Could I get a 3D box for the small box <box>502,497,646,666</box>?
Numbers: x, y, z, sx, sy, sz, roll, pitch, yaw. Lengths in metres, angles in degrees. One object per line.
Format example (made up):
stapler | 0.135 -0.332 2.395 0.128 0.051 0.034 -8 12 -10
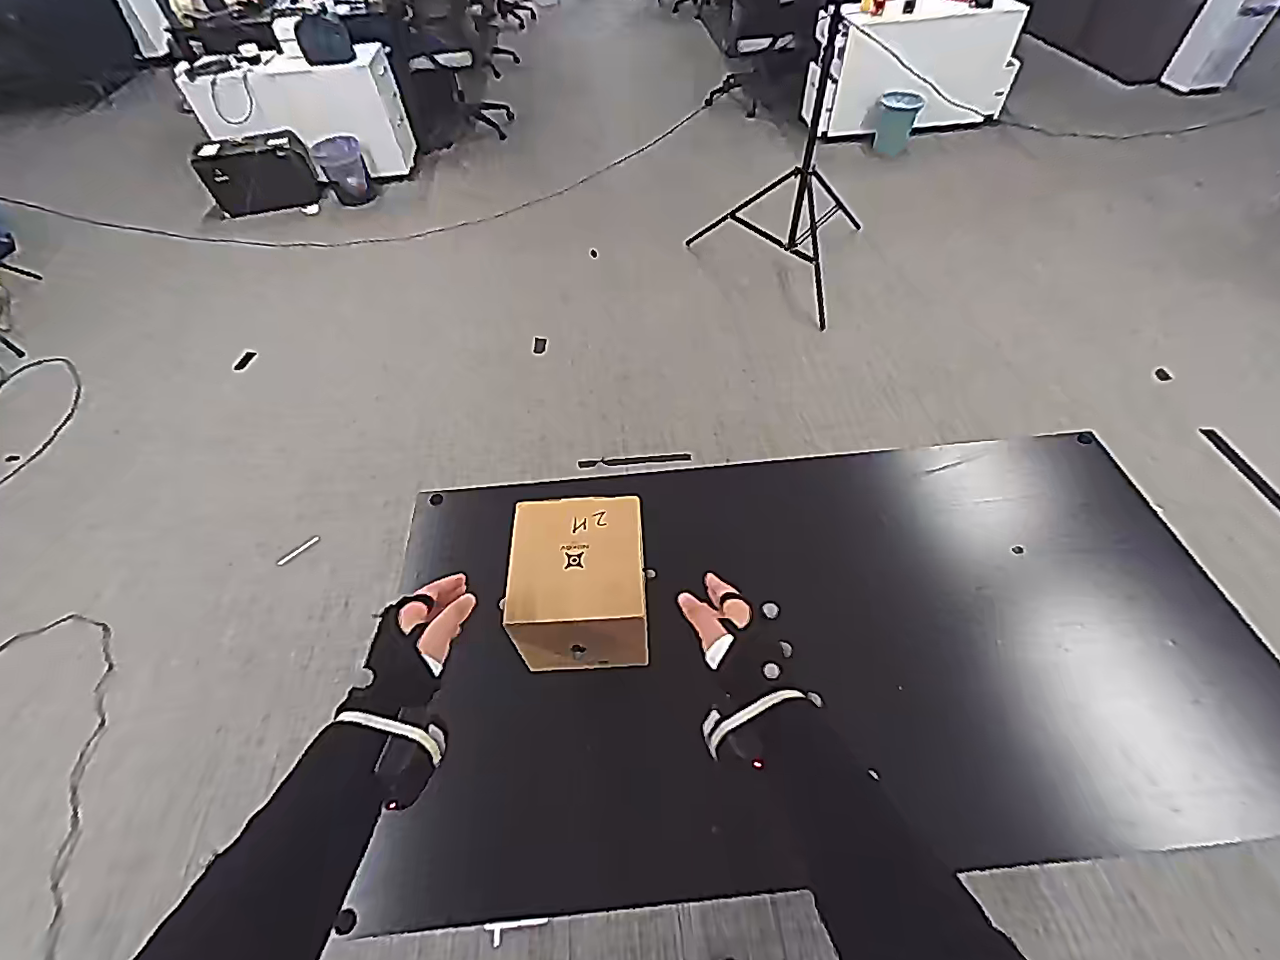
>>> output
small box | -0.079 0.146 0.741 0.168 0.176 0.179 -4 52 0
